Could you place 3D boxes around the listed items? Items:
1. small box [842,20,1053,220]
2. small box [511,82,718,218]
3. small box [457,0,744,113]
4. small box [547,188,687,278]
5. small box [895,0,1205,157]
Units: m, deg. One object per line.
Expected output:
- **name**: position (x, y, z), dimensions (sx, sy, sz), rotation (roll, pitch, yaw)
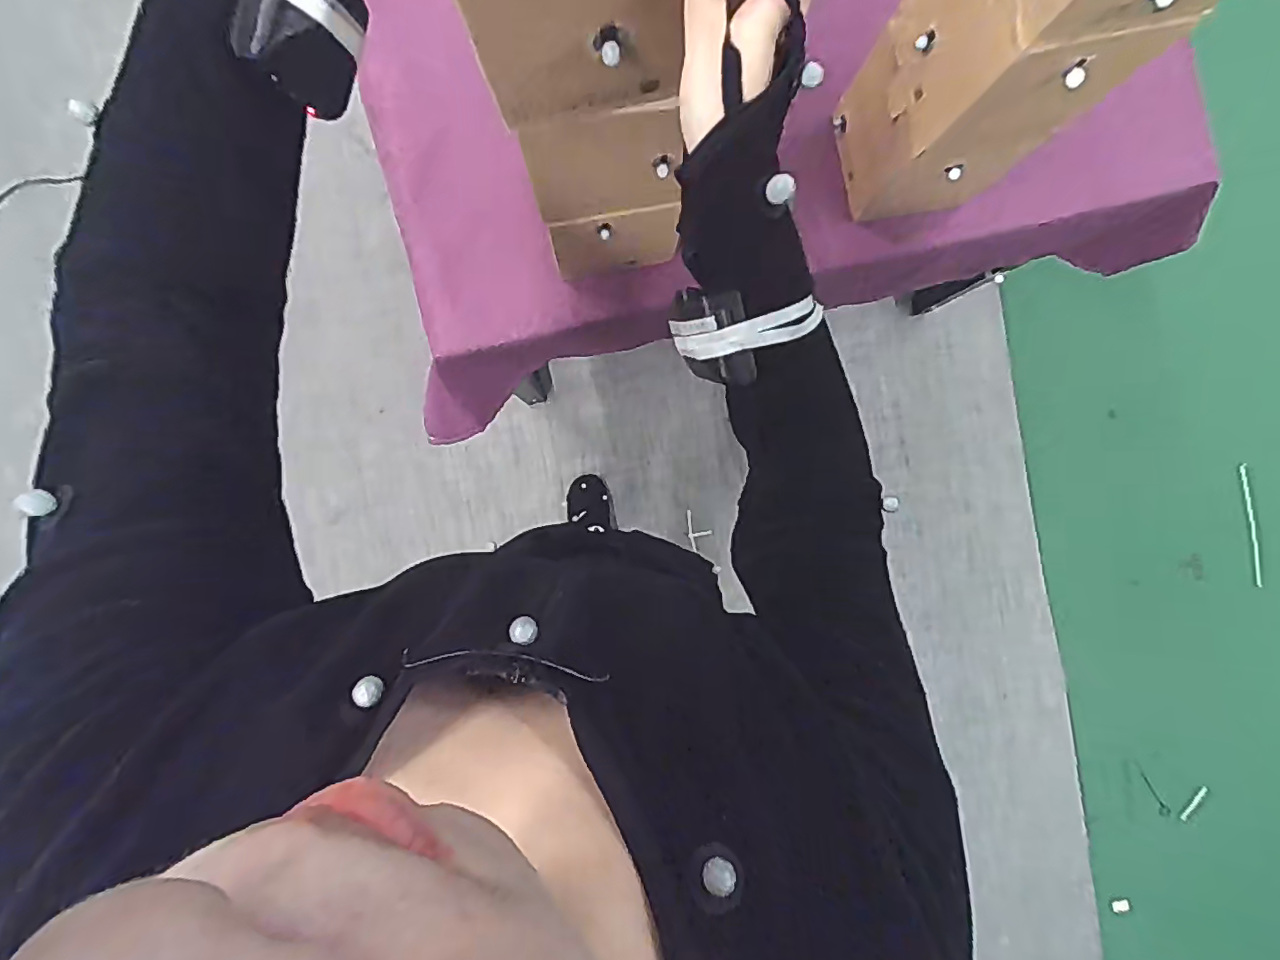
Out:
- **small box**: position (0.385, -0.469, 0.713), dimensions (0.179, 0.176, 0.168), rotation (-11, 92, -3)
- **small box**: position (-0.034, -0.383, 0.531), dimensions (0.179, 0.176, 0.168), rotation (-9, 91, -2)
- **small box**: position (-0.029, -0.343, 0.305), dimensions (0.168, 0.176, 0.179), rotation (-12, 98, -1)
- **small box**: position (-0.043, -0.386, 0.694), dimensions (0.168, 0.176, 0.179), rotation (-10, 91, -2)
- **small box**: position (0.396, -0.466, 0.551), dimensions (0.179, 0.176, 0.168), rotation (-12, 92, -2)
